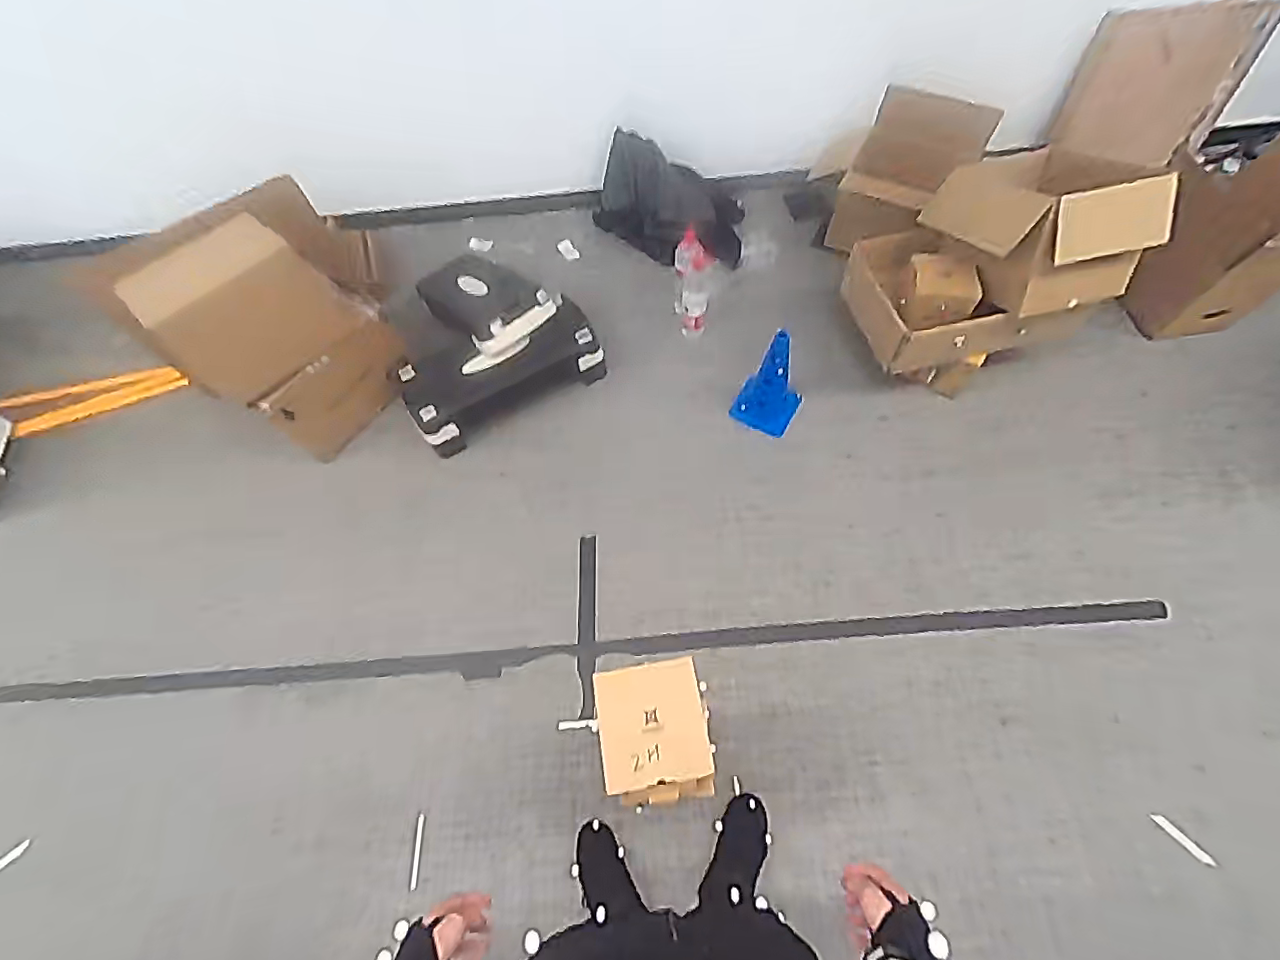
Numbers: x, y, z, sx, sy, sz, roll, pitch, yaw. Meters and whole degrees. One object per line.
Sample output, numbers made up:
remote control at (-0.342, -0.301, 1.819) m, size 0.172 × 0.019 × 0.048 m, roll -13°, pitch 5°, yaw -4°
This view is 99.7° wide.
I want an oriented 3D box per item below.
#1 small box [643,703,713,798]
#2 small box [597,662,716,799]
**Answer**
small box at (0.070, 0.591, 1.187) m, size 0.168 × 0.176 × 0.179 m, roll 0°, pitch 63°, yaw 4°
small box at (0.025, 0.421, 0.906) m, size 0.168 × 0.176 × 0.179 m, roll -10°, pitch 62°, yaw 0°
